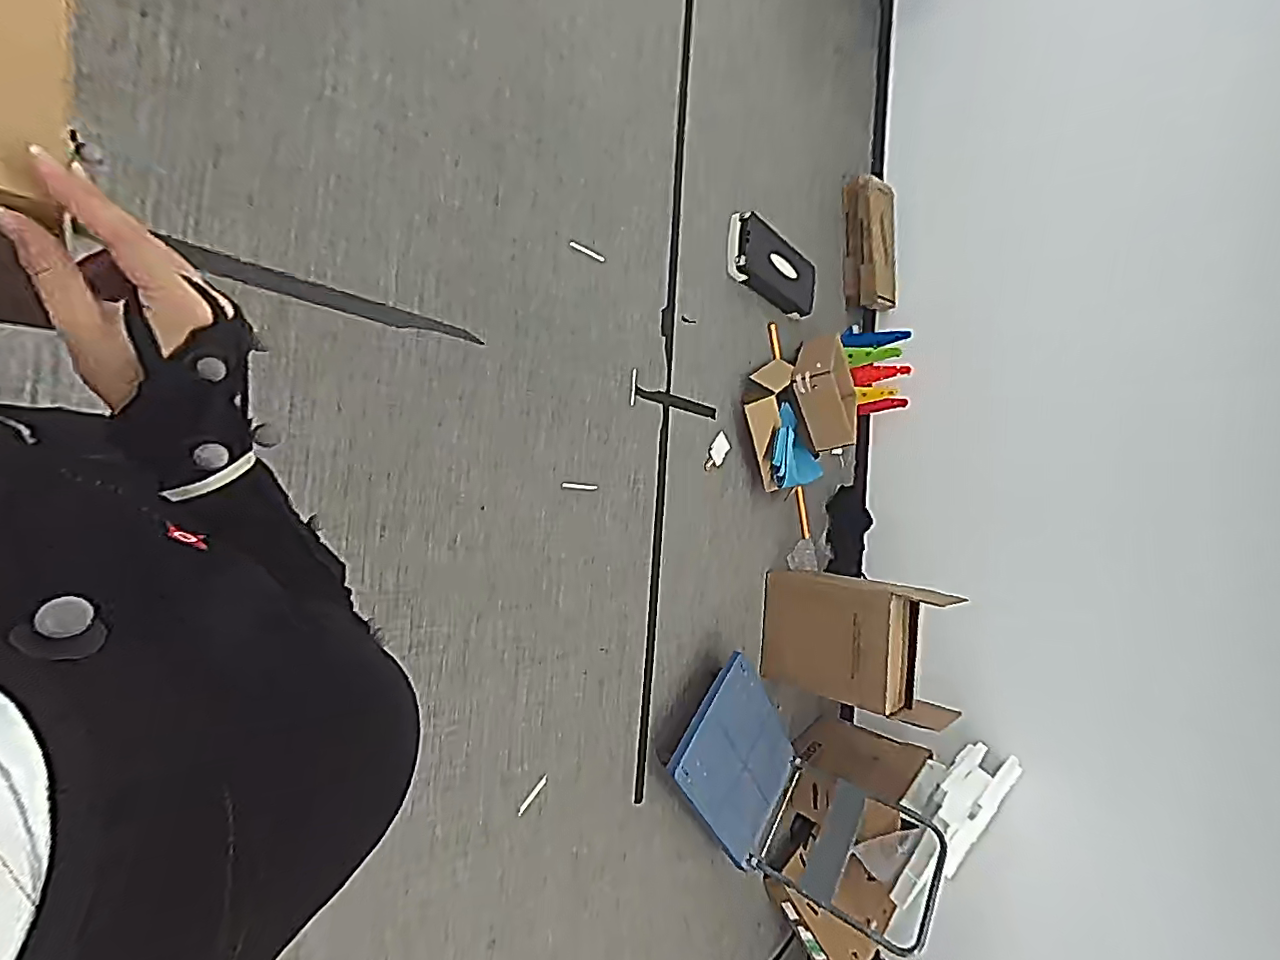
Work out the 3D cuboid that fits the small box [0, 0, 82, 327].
[{"bbox_3d":[-0.401,-0.203,0.269,0.168,0.176,0.179,2,78,-47],"label":"small box"}]
